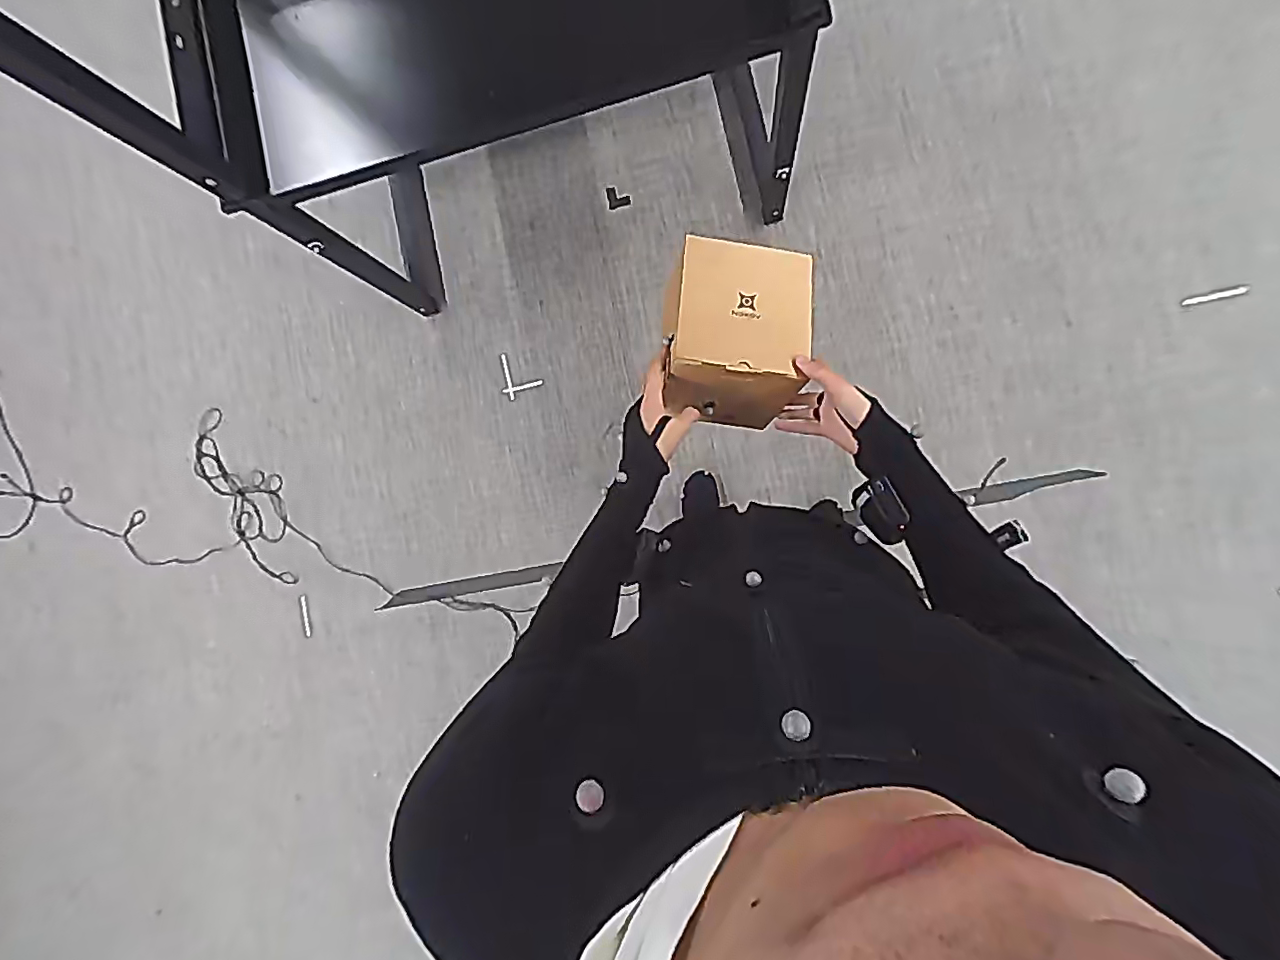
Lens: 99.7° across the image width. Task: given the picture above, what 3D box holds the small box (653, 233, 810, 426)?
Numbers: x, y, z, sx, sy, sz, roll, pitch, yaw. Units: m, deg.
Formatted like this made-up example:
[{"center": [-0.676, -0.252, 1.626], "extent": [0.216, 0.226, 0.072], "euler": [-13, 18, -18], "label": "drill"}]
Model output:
[{"center": [0.115, -0.190, 0.726], "extent": [0.168, 0.176, 0.179], "euler": [7, 75, -6], "label": "small box"}]
